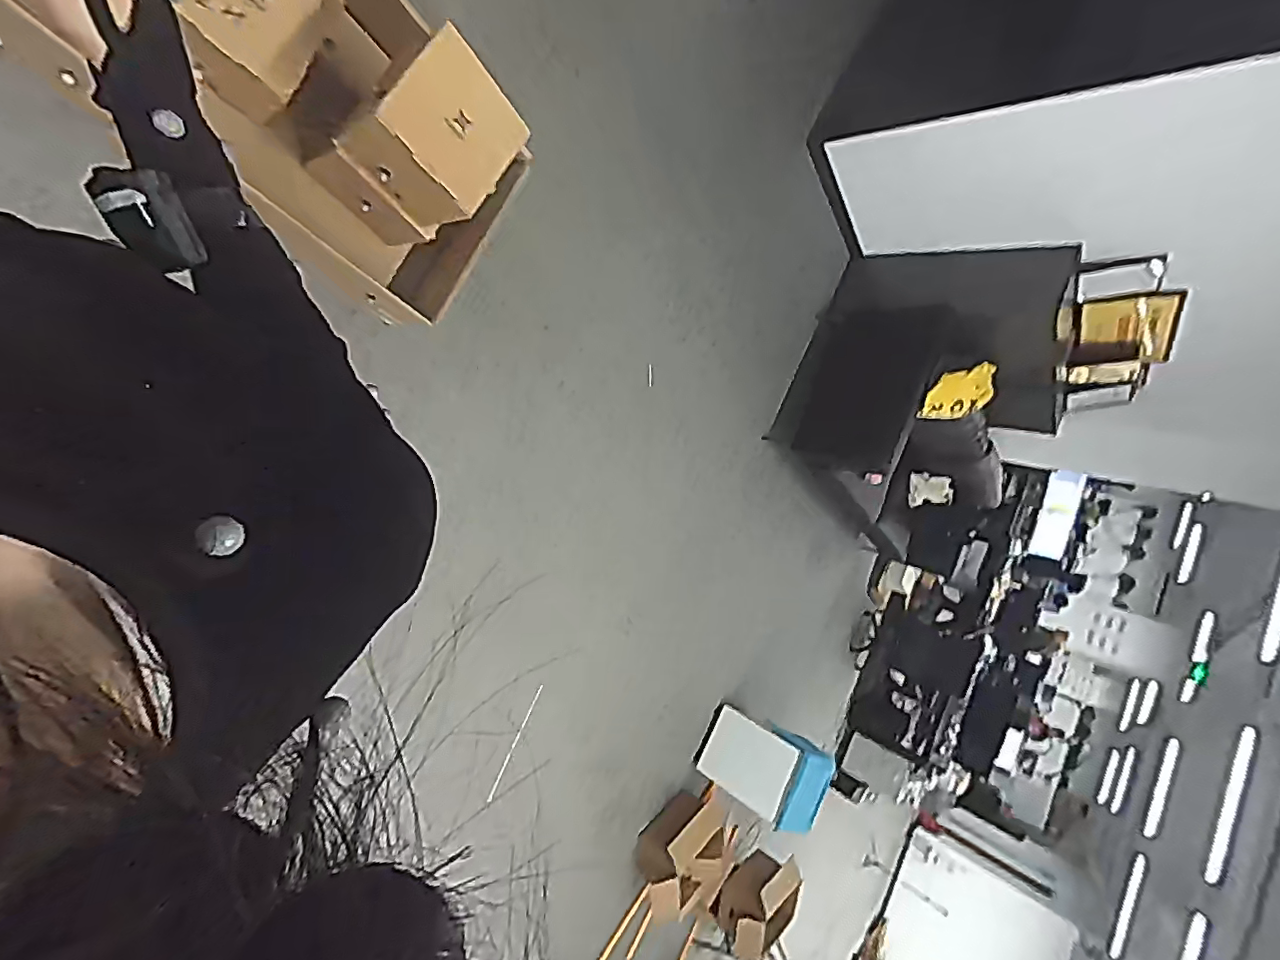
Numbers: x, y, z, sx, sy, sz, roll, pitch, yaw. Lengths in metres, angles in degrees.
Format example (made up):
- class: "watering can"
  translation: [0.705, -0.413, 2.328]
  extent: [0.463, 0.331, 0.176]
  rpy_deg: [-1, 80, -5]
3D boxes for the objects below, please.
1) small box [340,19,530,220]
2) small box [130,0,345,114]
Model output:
- class: "small box"
  translation: [-0.306, -0.517, 0.802]
  extent: [0.168, 0.176, 0.179]
  rpy_deg: [42, 72, -46]
- class: "small box"
  translation: [-0.548, -0.646, 0.734]
  extent: [0.168, 0.176, 0.179]
  rpy_deg: [33, 79, -49]
